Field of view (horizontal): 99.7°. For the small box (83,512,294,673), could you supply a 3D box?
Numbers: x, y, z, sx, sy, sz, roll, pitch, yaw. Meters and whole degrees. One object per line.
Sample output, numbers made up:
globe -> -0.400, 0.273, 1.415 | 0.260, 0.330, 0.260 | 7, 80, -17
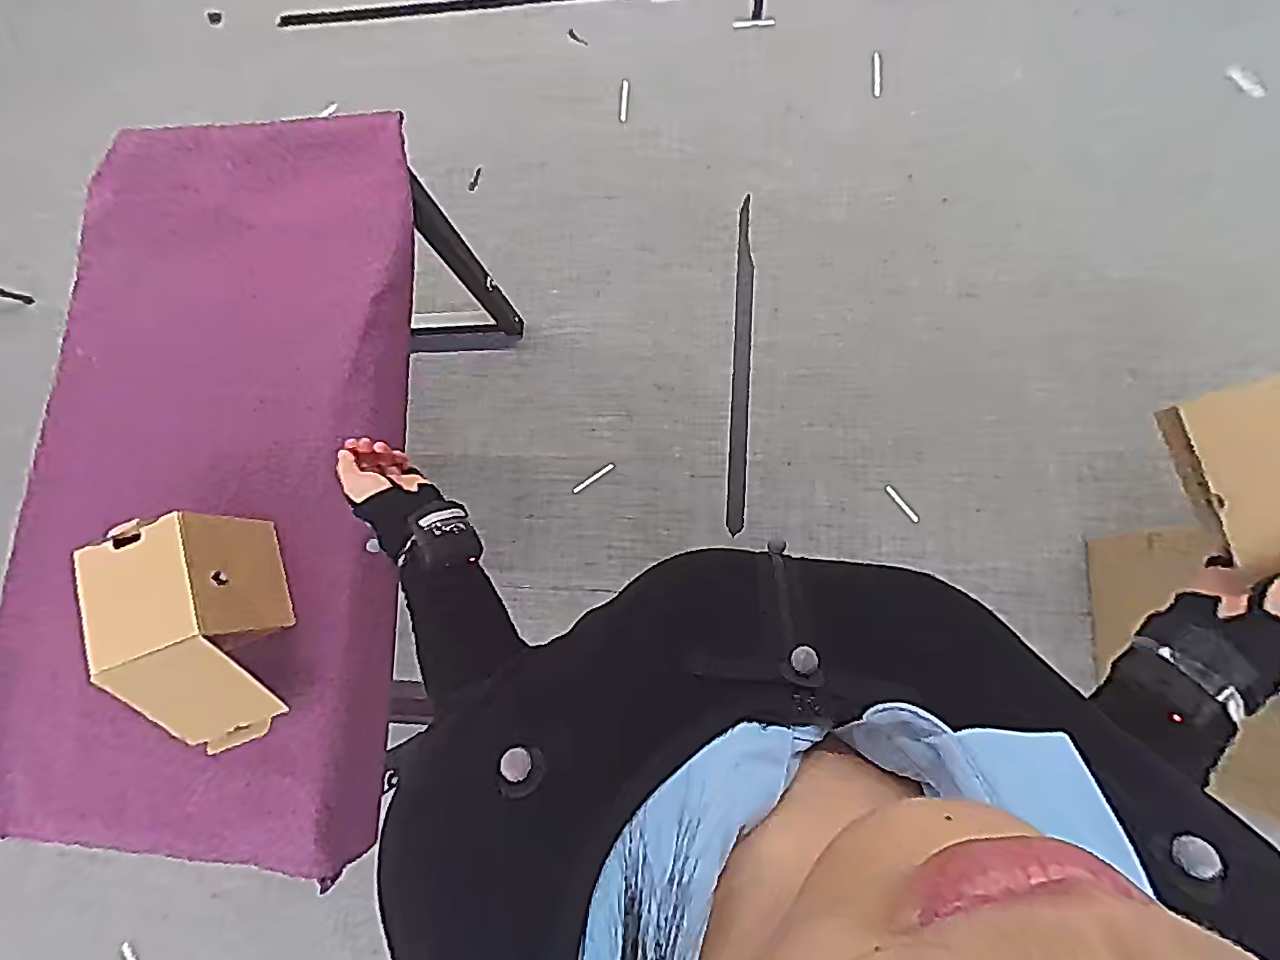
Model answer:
small box -> -0.652, 0.162, 0.800 | 0.168, 0.176, 0.179 | -21, 77, 3
